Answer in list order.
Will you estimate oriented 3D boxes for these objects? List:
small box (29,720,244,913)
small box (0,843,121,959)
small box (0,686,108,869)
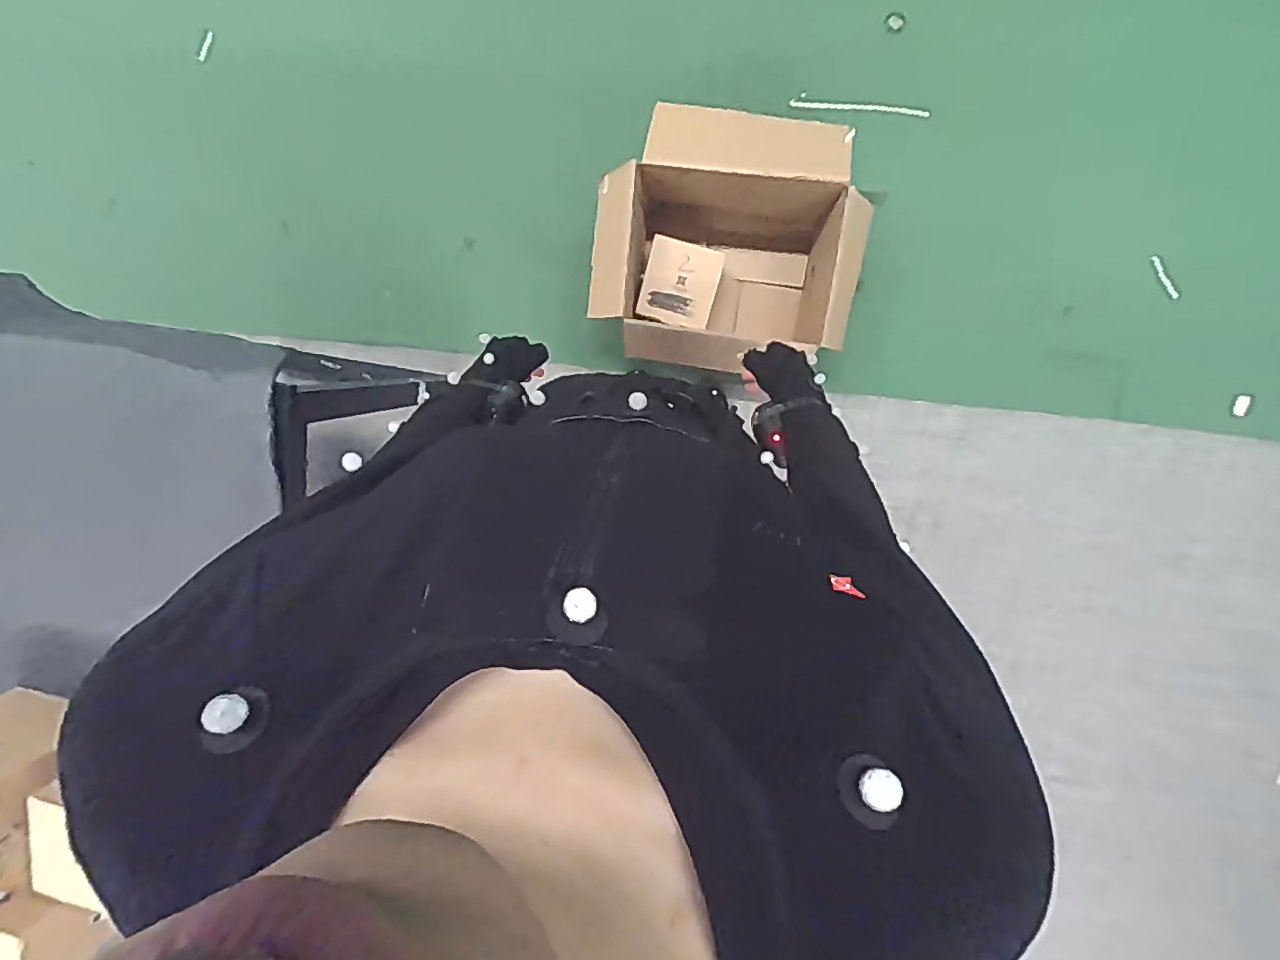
[{"bbox_3d":[-0.757,0.499,0.828,0.179,0.176,0.168,12,103,3],"label":"small box"},{"bbox_3d":[-1.007,0.706,0.897,0.179,0.176,0.168,11,103,2],"label":"small box"},{"bbox_3d":[-0.981,0.448,0.836,0.179,0.176,0.168,13,103,2],"label":"small box"}]
